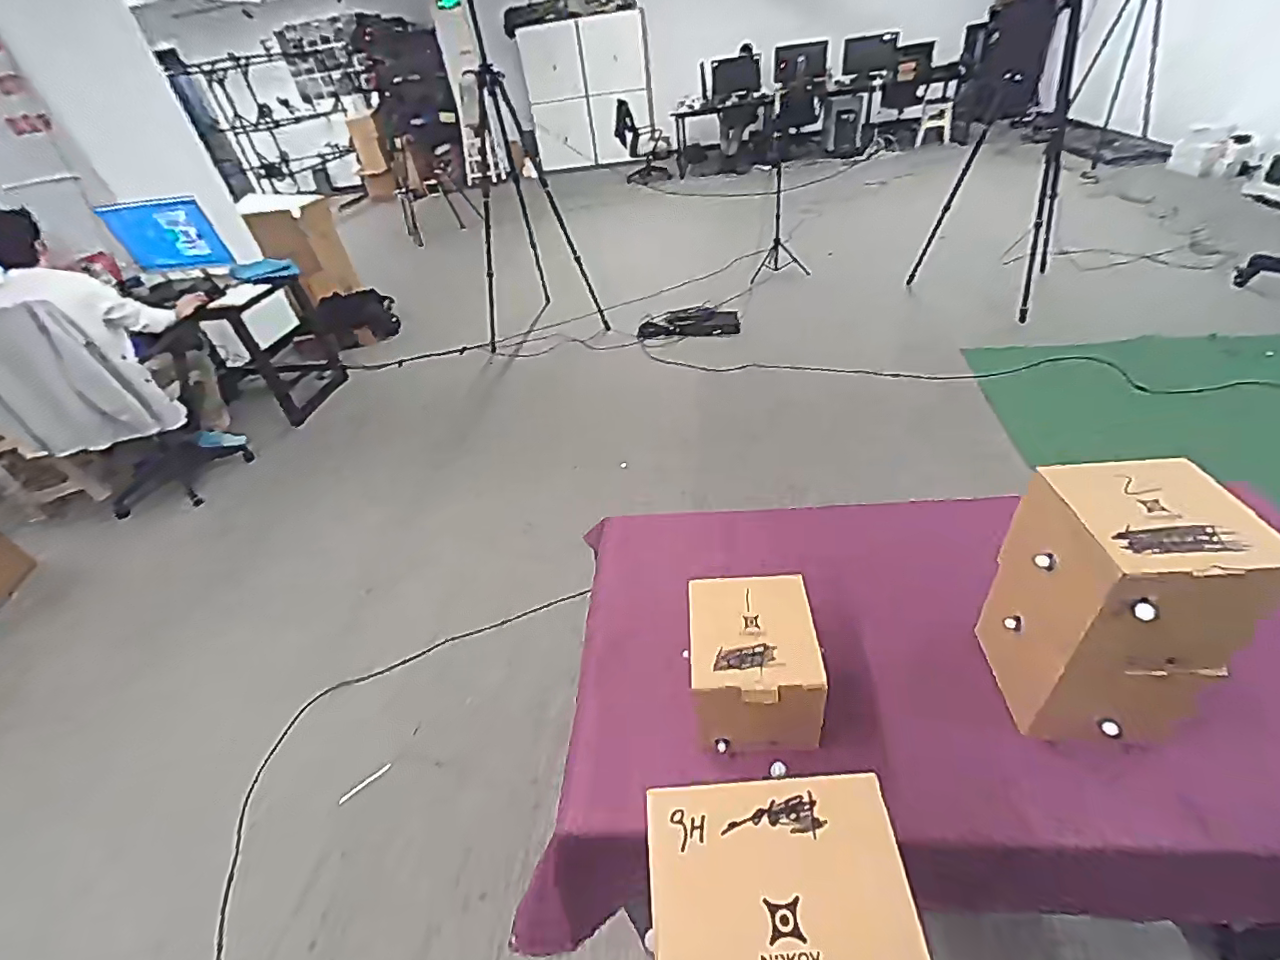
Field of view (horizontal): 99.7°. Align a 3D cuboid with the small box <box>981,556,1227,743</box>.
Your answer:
[{"bbox_3d":[0.589,0.222,0.723,0.168,0.176,0.179,-3,39,10],"label":"small box"}]

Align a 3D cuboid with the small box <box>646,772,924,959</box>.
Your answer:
[{"bbox_3d":[0.098,0.330,0.398,0.168,0.176,0.179,-6,52,3],"label":"small box"}]

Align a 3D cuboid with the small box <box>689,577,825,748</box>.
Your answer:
[{"bbox_3d":[0.159,0.262,0.770,0.168,0.176,0.179,-4,38,7],"label":"small box"}]
